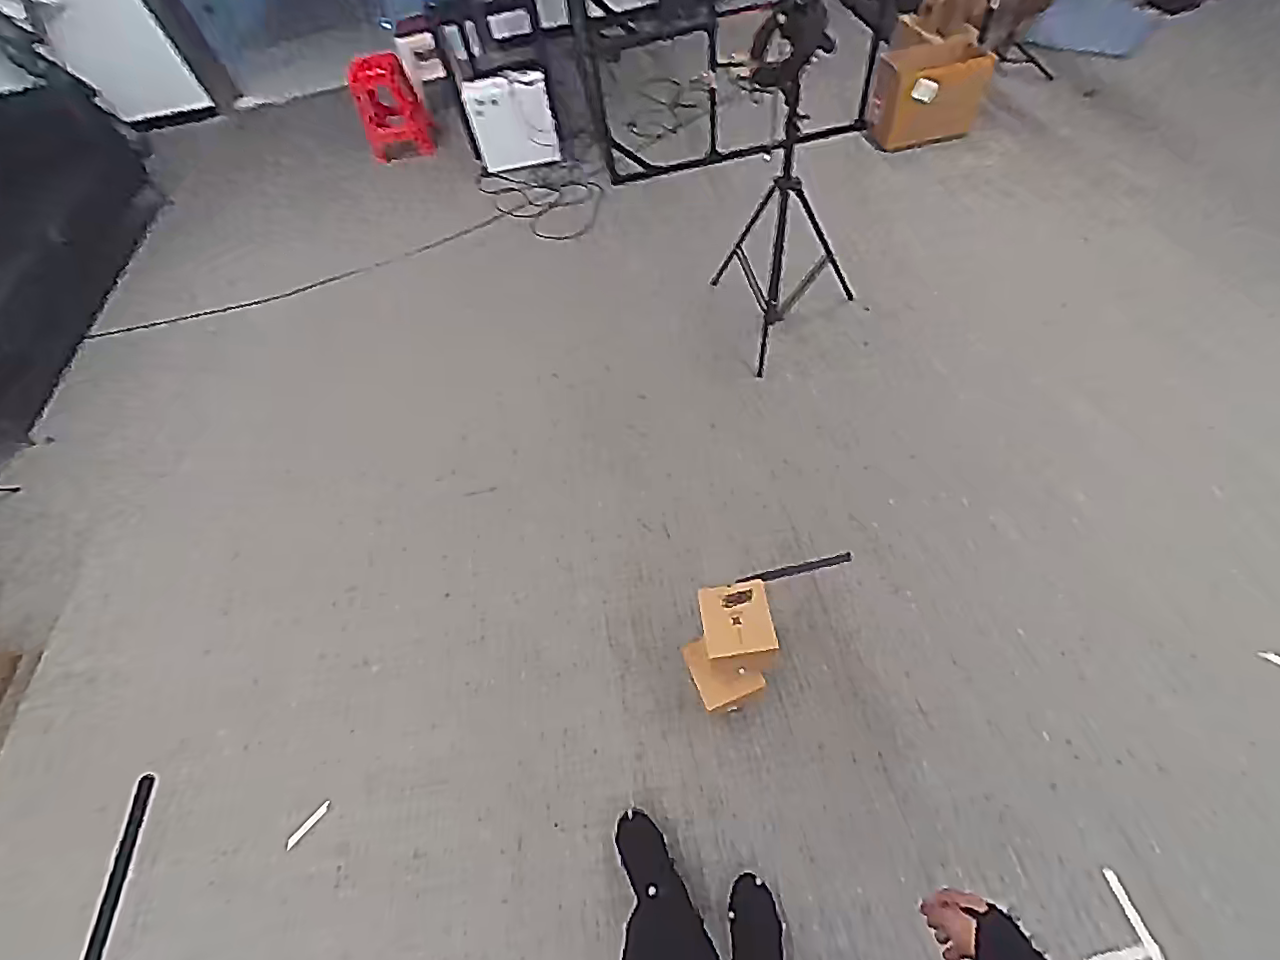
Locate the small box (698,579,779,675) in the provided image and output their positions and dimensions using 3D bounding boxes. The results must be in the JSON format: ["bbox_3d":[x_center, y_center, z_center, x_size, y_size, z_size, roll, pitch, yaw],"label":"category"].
[{"bbox_3d":[0.241,0.371,1.350,0.168,0.176,0.179,-10,56,4],"label":"small box"}]

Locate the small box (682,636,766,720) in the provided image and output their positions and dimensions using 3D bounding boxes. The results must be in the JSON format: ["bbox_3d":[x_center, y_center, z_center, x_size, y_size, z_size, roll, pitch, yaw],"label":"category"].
[{"bbox_3d":[0.222,0.519,1.453,0.168,0.176,0.179,-22,56,-5],"label":"small box"}]
